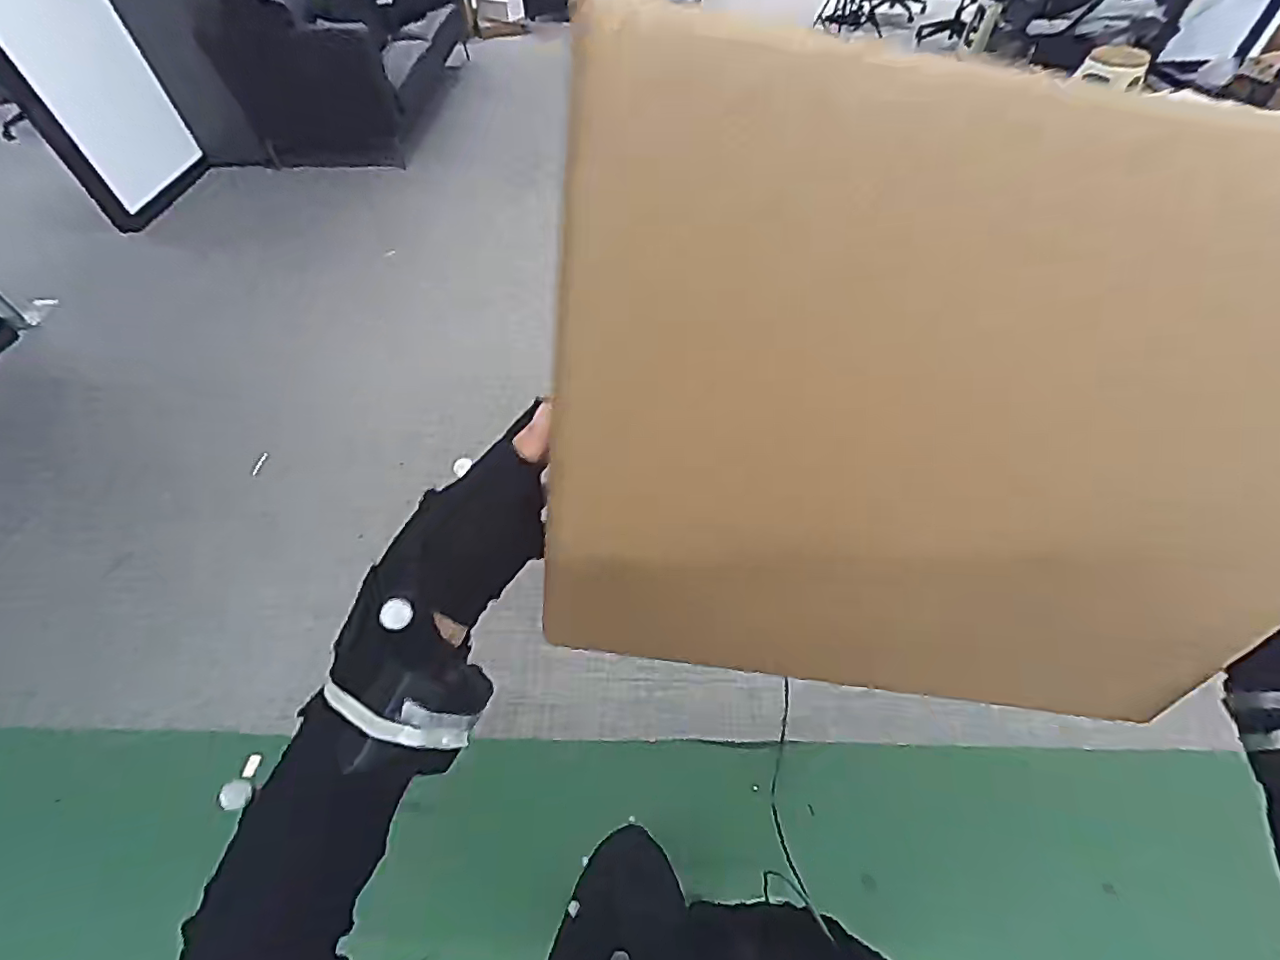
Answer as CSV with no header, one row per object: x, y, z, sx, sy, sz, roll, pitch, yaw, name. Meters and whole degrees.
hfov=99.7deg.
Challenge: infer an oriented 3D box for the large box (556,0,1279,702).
0.168,-0.081,0.383,0.408,0.320,0.320,9,38,-4,large box
